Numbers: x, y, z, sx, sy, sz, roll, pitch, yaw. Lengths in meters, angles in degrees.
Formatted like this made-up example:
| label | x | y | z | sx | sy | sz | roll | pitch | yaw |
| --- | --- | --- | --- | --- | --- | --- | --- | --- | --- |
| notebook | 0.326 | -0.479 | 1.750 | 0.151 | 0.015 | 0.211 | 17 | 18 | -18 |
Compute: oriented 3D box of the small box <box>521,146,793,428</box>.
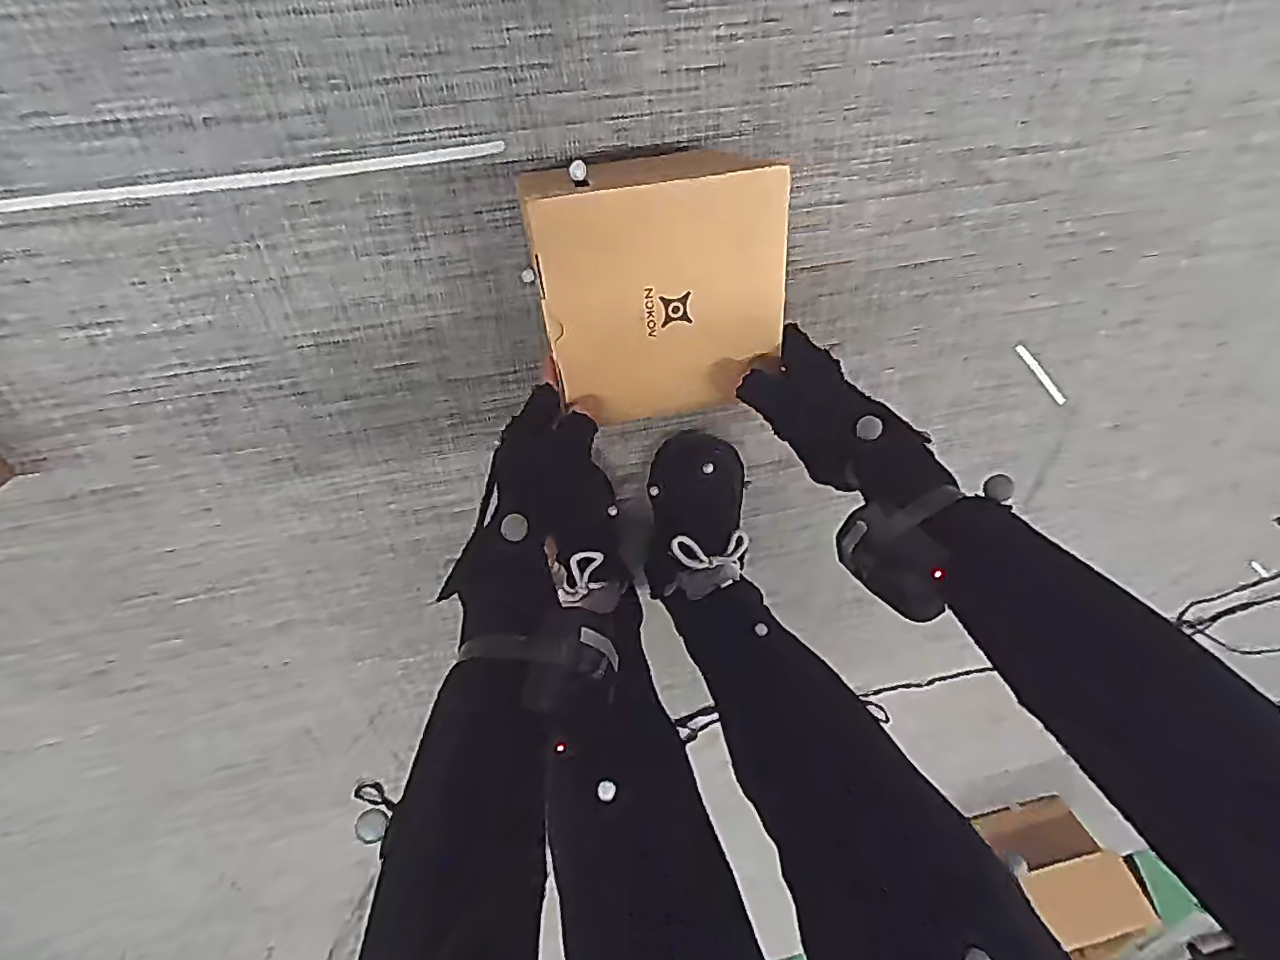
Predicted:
| label | x | y | z | sx | sy | sz | roll | pitch | yaw |
| --- | --- | --- | --- | --- | --- | --- | --- | --- | --- |
| small box | 0.005 | -0.166 | 0.445 | 0.179 | 0.176 | 0.168 | -11 | 126 | -5 |
